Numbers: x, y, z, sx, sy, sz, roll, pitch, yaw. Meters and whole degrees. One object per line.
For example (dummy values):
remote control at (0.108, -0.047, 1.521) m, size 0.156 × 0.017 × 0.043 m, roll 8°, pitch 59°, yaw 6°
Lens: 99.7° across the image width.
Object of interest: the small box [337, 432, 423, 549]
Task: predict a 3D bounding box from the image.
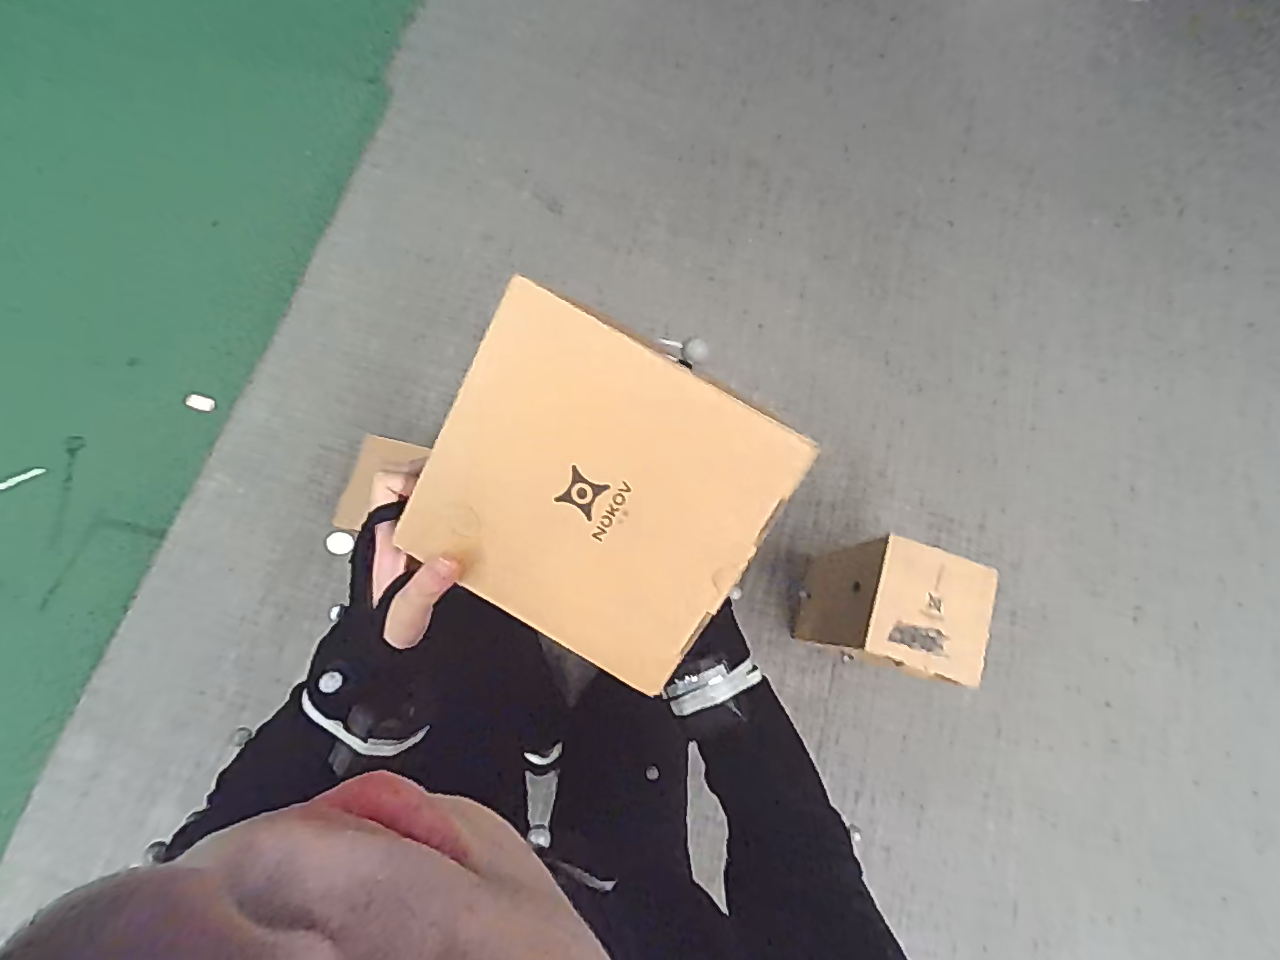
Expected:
small box at (-0.428, 0.035, 1.029) m, size 0.168 × 0.176 × 0.179 m, roll 15°, pitch 75°, yaw 1°

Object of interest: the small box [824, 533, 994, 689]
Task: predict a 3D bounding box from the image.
small box at (0.406, 0.203, 0.844) m, size 0.168 × 0.176 × 0.179 m, roll 20°, pitch 75°, yaw 3°

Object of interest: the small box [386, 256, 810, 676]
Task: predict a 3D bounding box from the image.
small box at (-0.020, -0.015, 0.360) m, size 0.179 × 0.176 × 0.168 m, roll 30°, pitch 103°, yaw 0°

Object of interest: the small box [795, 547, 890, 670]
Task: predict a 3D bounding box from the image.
small box at (0.403, 0.241, 1.005) m, size 0.168 × 0.176 × 0.179 m, roll 18°, pitch 76°, yaw 2°
